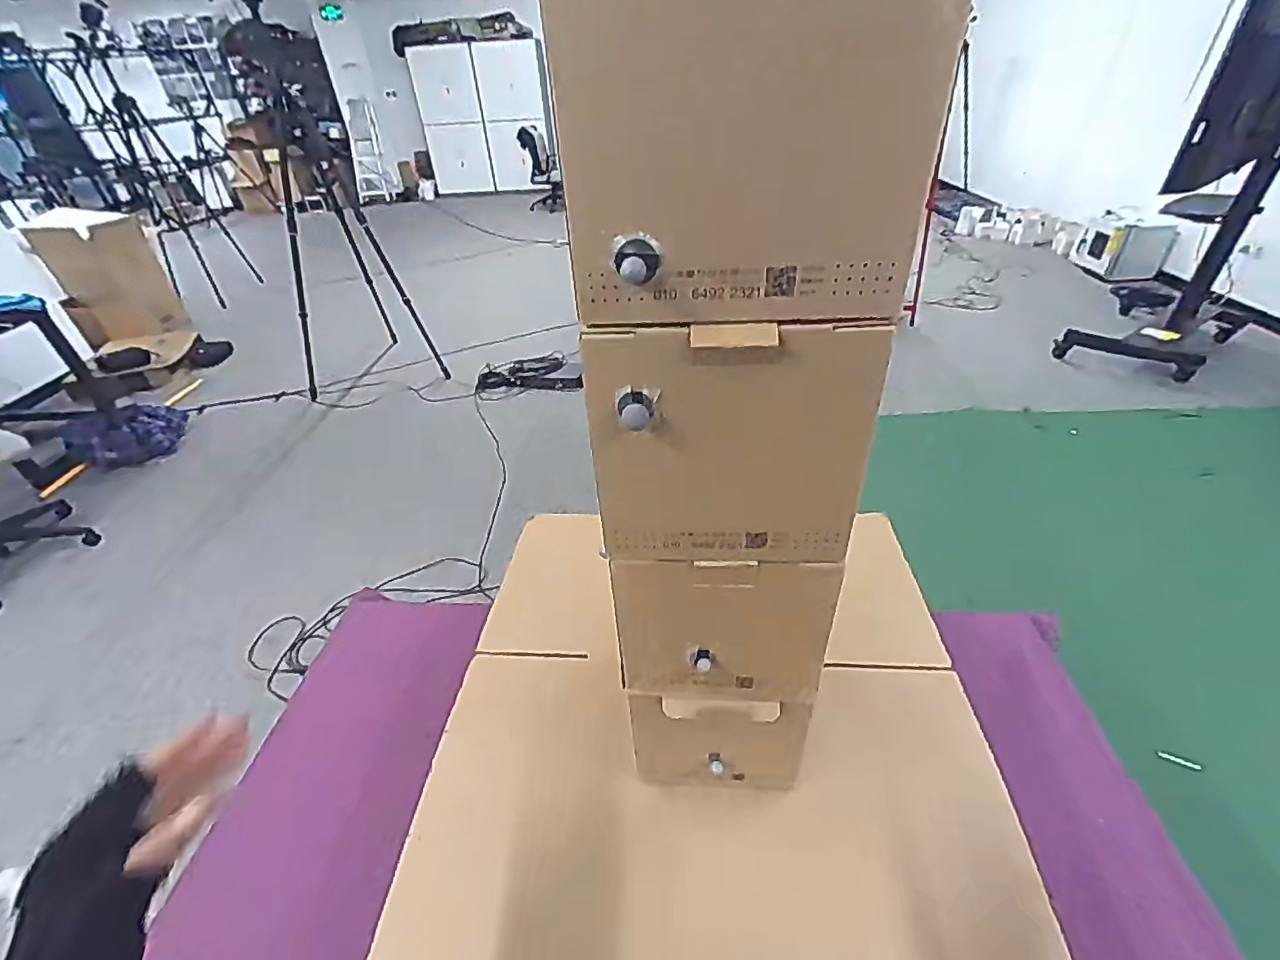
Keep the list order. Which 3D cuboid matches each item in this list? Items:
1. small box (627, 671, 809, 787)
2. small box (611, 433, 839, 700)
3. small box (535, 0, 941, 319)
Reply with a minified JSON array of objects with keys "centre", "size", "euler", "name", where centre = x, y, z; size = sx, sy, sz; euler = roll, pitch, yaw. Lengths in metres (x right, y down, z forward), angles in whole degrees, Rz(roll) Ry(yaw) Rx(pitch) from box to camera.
[{"centre":[0.080,0.203,0.594],"size":[0.168,0.176,0.179],"euler":[0,36,6],"name":"small box"},{"centre":[0.070,0.073,0.498],"size":[0.168,0.176,0.179],"euler":[0,37,6],"name":"small box"},{"centre":[0.050,-0.197,0.308],"size":[0.168,0.176,0.179],"euler":[0,35,6],"name":"small box"}]
